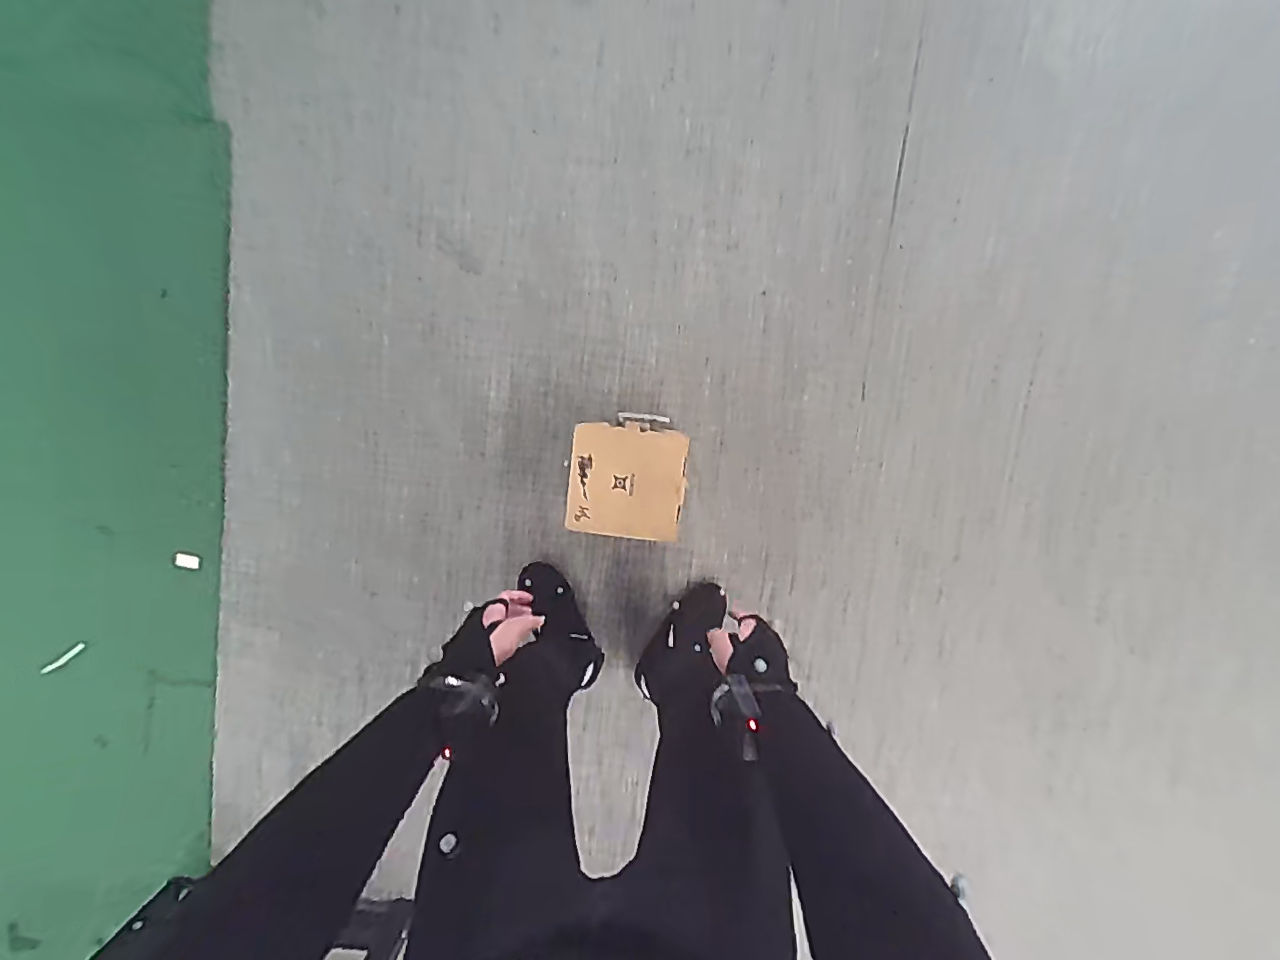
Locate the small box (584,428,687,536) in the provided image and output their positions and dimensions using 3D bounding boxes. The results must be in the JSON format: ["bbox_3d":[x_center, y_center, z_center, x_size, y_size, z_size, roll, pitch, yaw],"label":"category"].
[{"bbox_3d":[-0.007,-0.003,1.054,0.168,0.176,0.179,9,96,2],"label":"small box"}]
